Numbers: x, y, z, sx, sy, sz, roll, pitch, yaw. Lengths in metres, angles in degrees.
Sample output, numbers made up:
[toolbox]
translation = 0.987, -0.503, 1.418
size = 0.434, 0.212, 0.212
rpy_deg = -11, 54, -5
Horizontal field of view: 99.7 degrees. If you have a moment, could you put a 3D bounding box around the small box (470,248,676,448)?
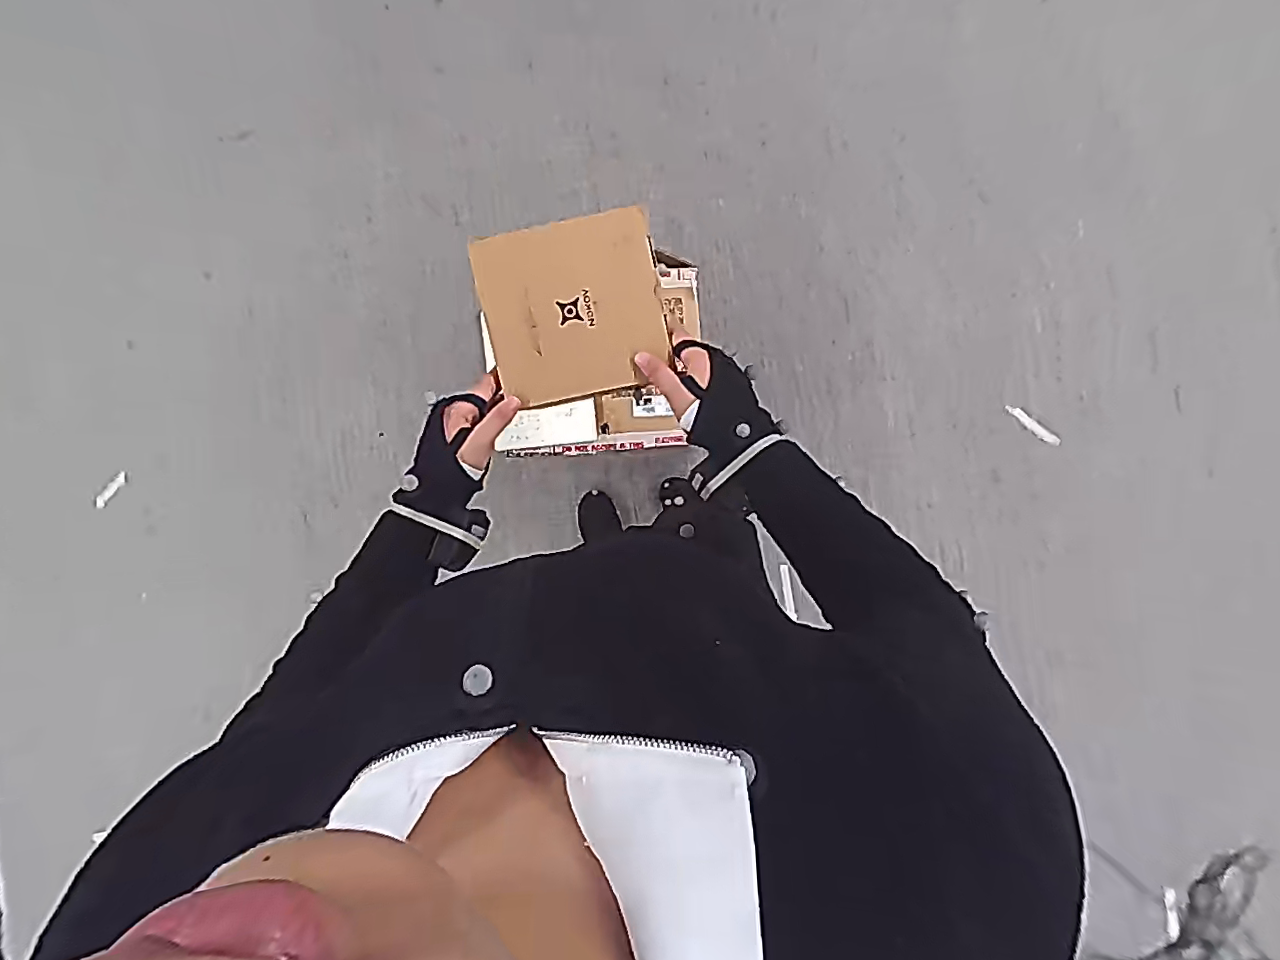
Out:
[small box]
translation = -0.065, -0.140, 0.615
size = 0.179, 0.176, 0.168
rpy_deg = -14, 97, 3
